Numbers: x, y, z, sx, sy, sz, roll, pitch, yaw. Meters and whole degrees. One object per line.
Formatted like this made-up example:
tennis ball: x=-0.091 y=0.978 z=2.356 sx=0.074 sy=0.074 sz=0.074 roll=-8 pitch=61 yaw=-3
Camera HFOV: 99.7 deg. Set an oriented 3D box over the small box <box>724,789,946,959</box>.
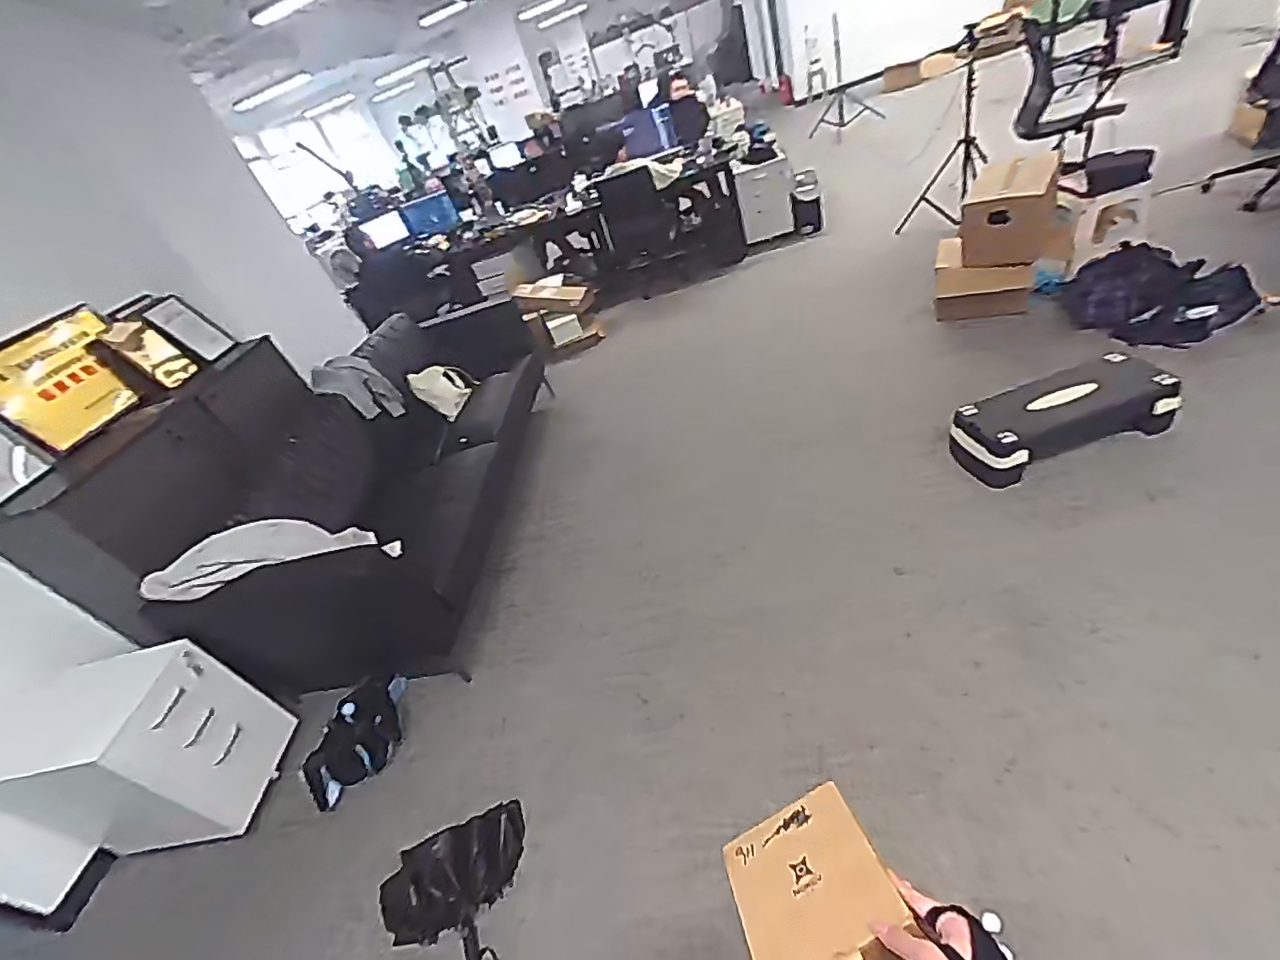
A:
small box: x=0.223 y=0.505 z=0.603 sx=0.168 sy=0.176 sz=0.179 roll=-34 pitch=14 yaw=3
